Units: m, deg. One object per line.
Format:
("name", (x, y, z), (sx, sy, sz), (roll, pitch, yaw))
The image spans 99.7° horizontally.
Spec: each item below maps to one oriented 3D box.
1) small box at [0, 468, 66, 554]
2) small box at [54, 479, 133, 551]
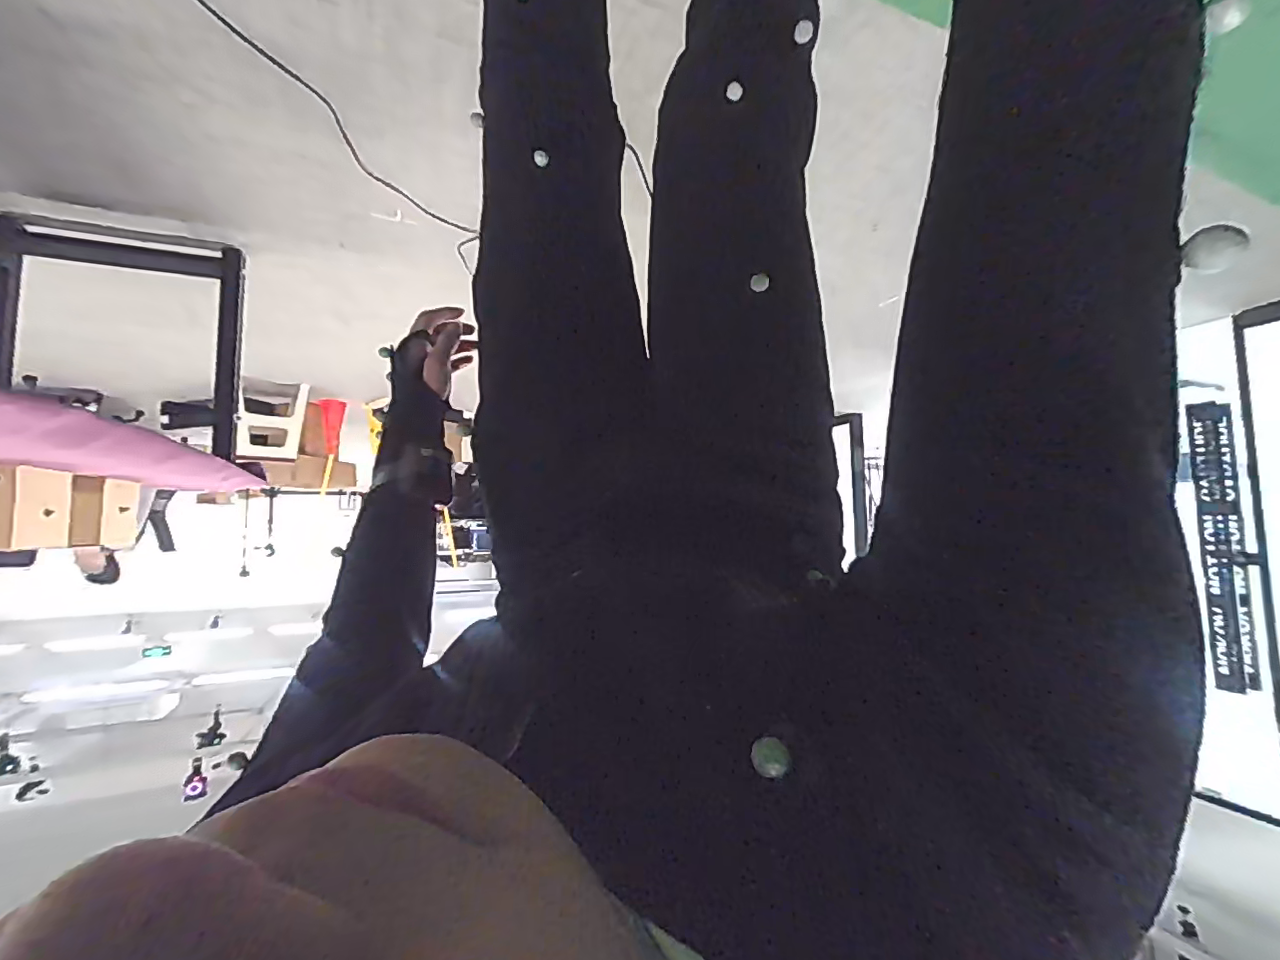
("small box", (-1.293, 0.060, 1.067), (0.168, 0.176, 0.179), (1, 176, -21))
("small box", (-1.402, 0.085, 1.336), (0.179, 0.176, 0.168), (0, 174, -21))
